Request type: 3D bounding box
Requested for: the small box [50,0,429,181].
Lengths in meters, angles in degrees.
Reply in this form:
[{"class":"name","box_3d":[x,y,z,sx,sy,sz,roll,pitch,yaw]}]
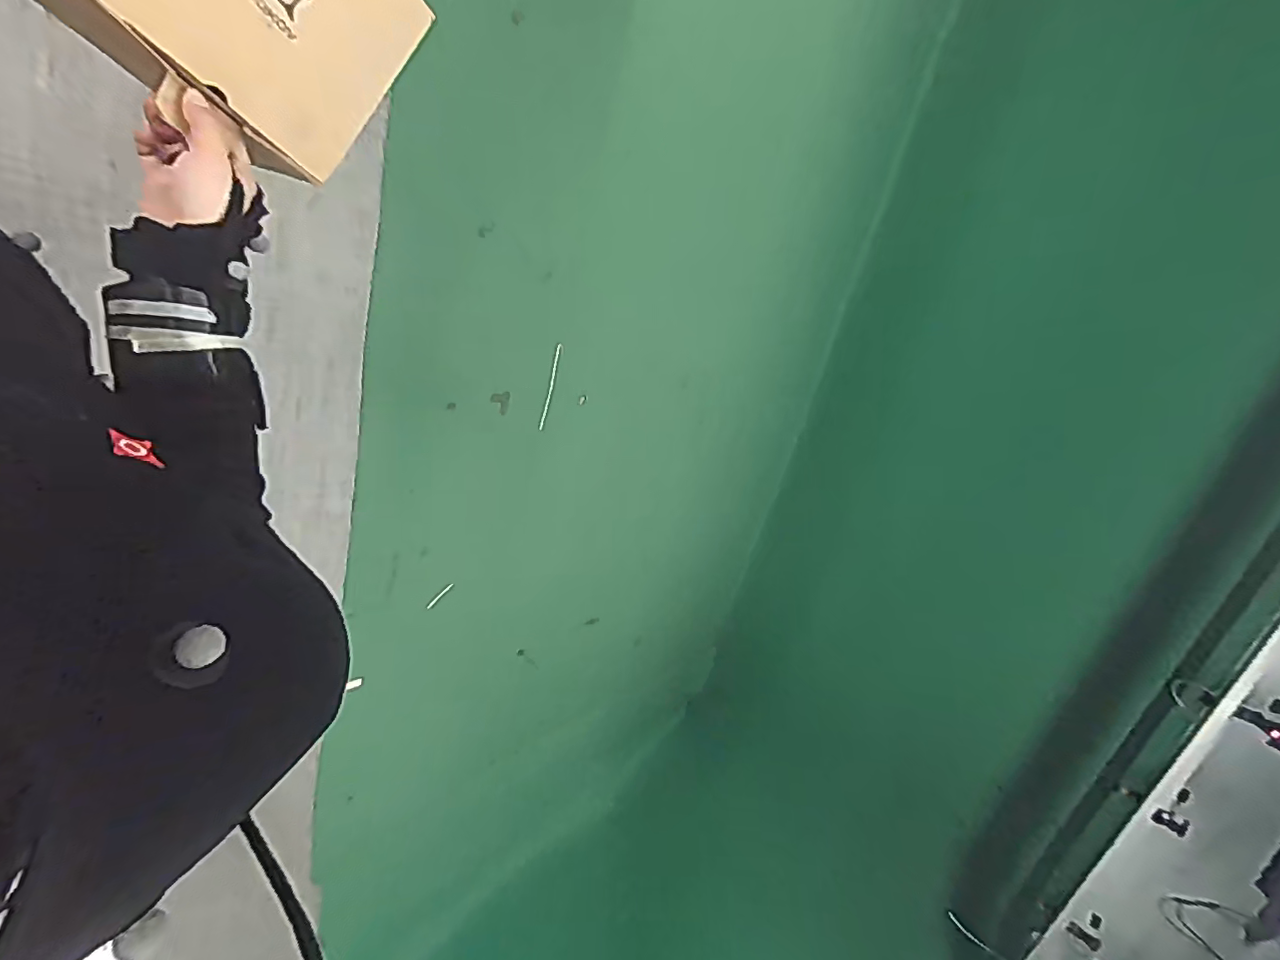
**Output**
[{"class":"small box","box_3d":[-0.311,-0.372,0.417,0.179,0.176,0.168,-60,150,-3]}]
